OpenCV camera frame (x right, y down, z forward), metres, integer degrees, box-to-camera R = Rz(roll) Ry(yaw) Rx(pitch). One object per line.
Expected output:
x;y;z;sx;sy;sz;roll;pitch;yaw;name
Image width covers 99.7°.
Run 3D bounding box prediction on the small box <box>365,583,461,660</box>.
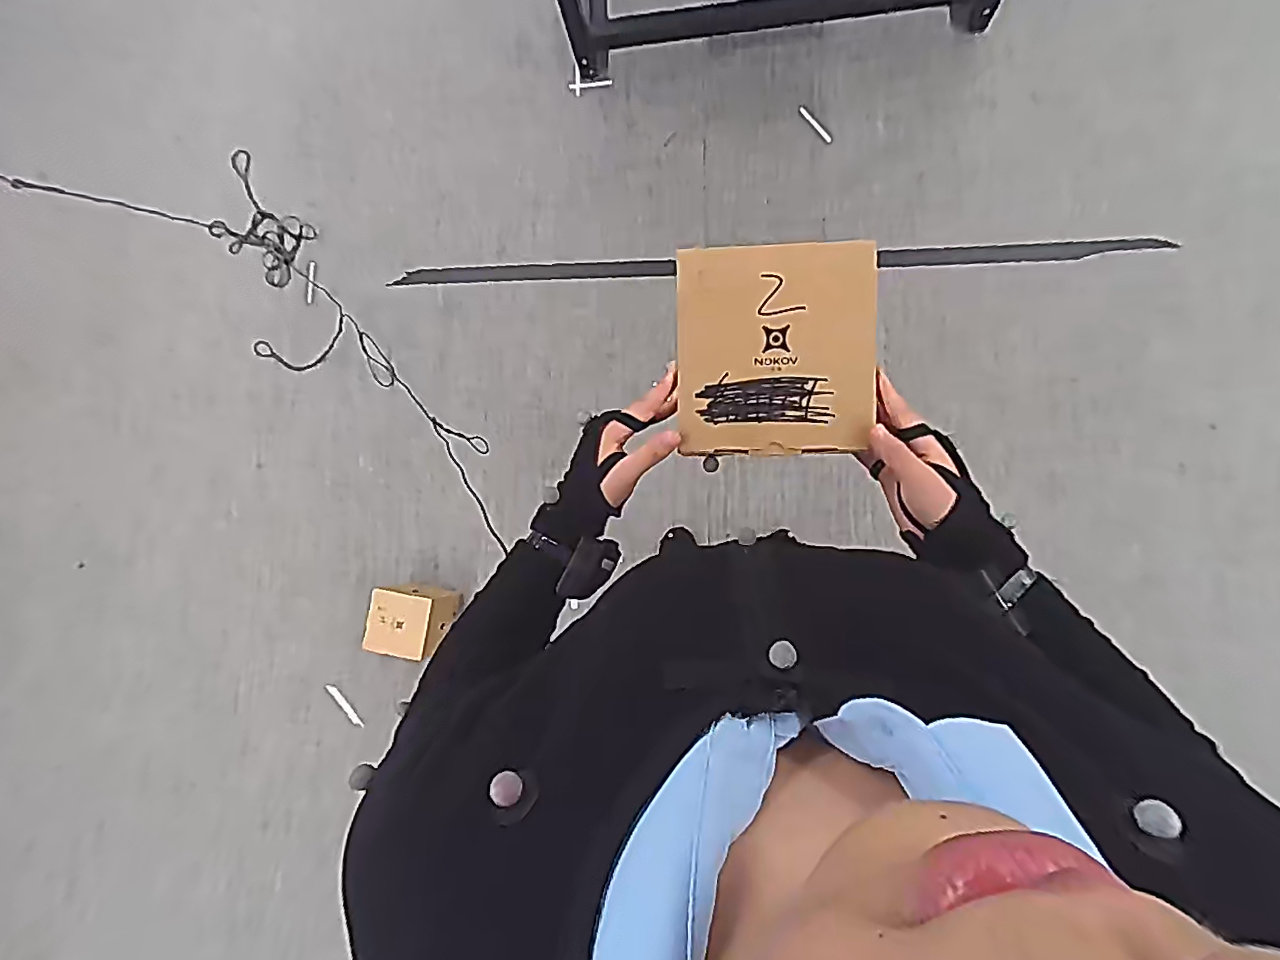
-0.627;0.387;1.513;0.179;0.176;0.168;9;85;9;small box
